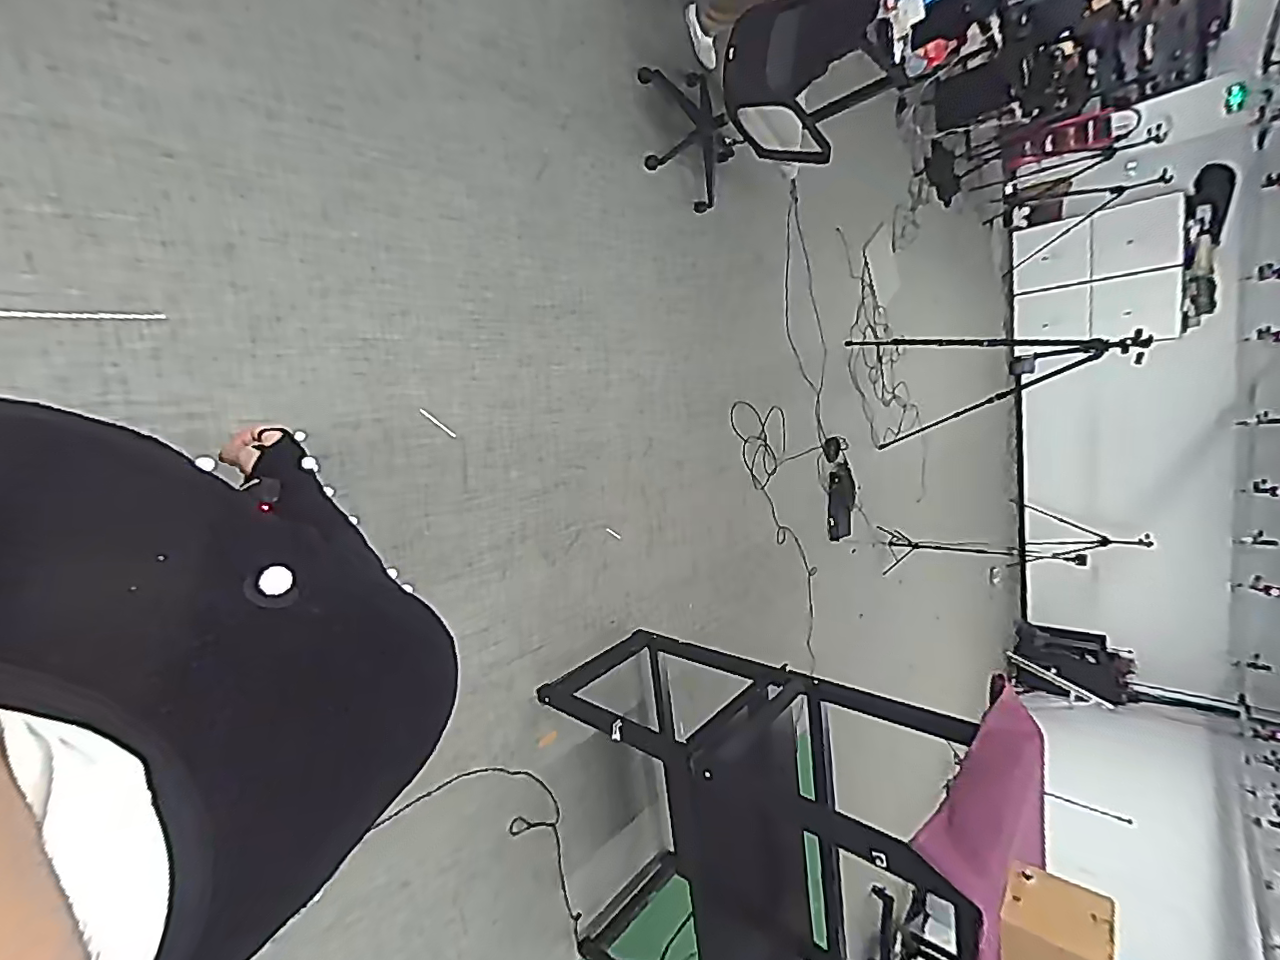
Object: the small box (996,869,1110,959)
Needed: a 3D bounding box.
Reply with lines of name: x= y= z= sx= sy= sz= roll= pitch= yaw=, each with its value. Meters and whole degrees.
small box: x=0.815 y=0.917 z=1.067 sx=0.168 sy=0.176 sz=0.179 roll=-15 pitch=102 yaw=-46
